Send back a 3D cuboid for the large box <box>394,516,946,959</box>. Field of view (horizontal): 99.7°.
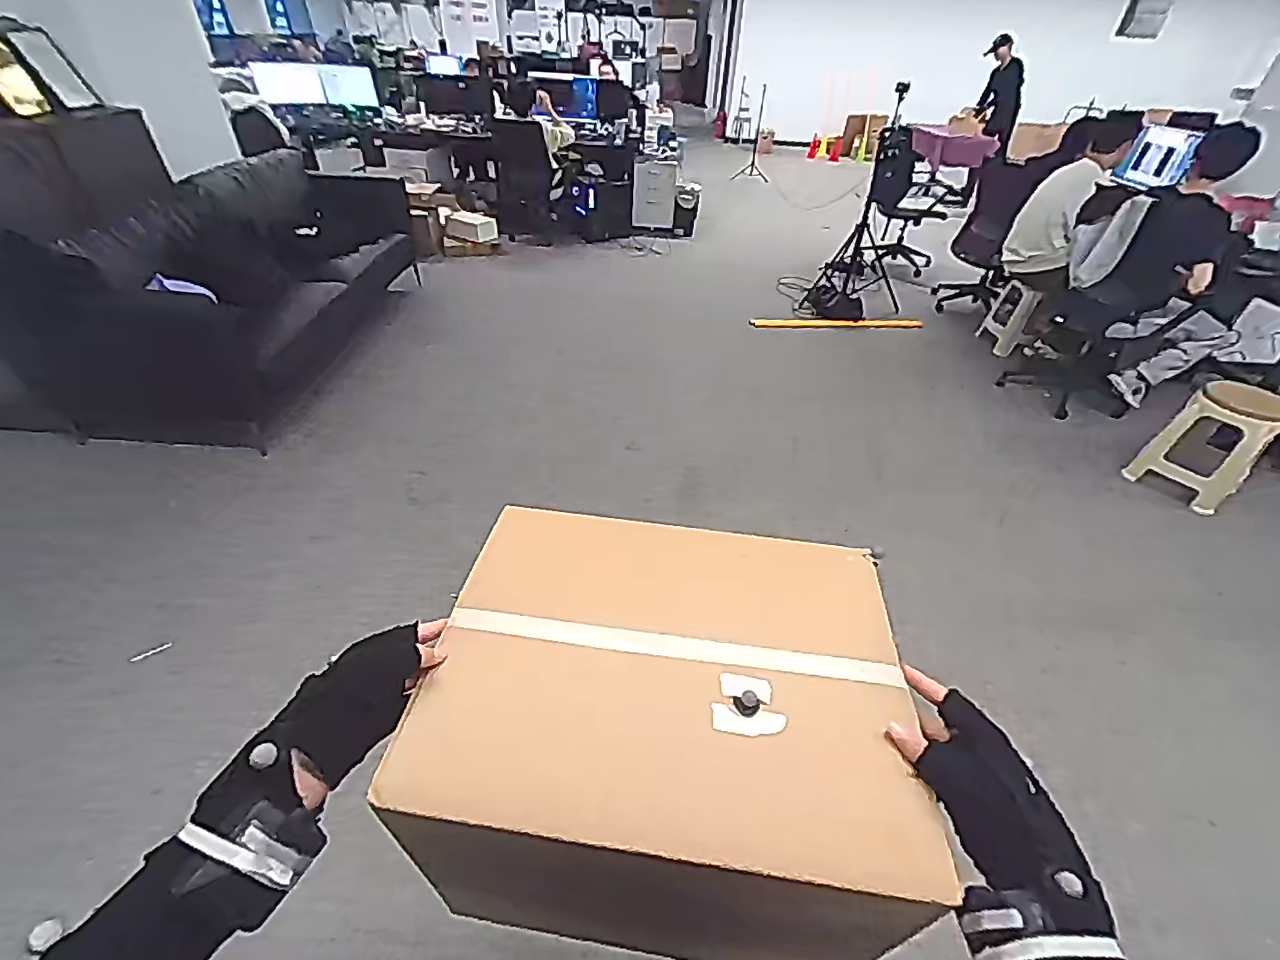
[{"bbox_3d":[0.026,0.269,0.588,0.408,0.320,0.320,6,40,5],"label":"large box"}]
